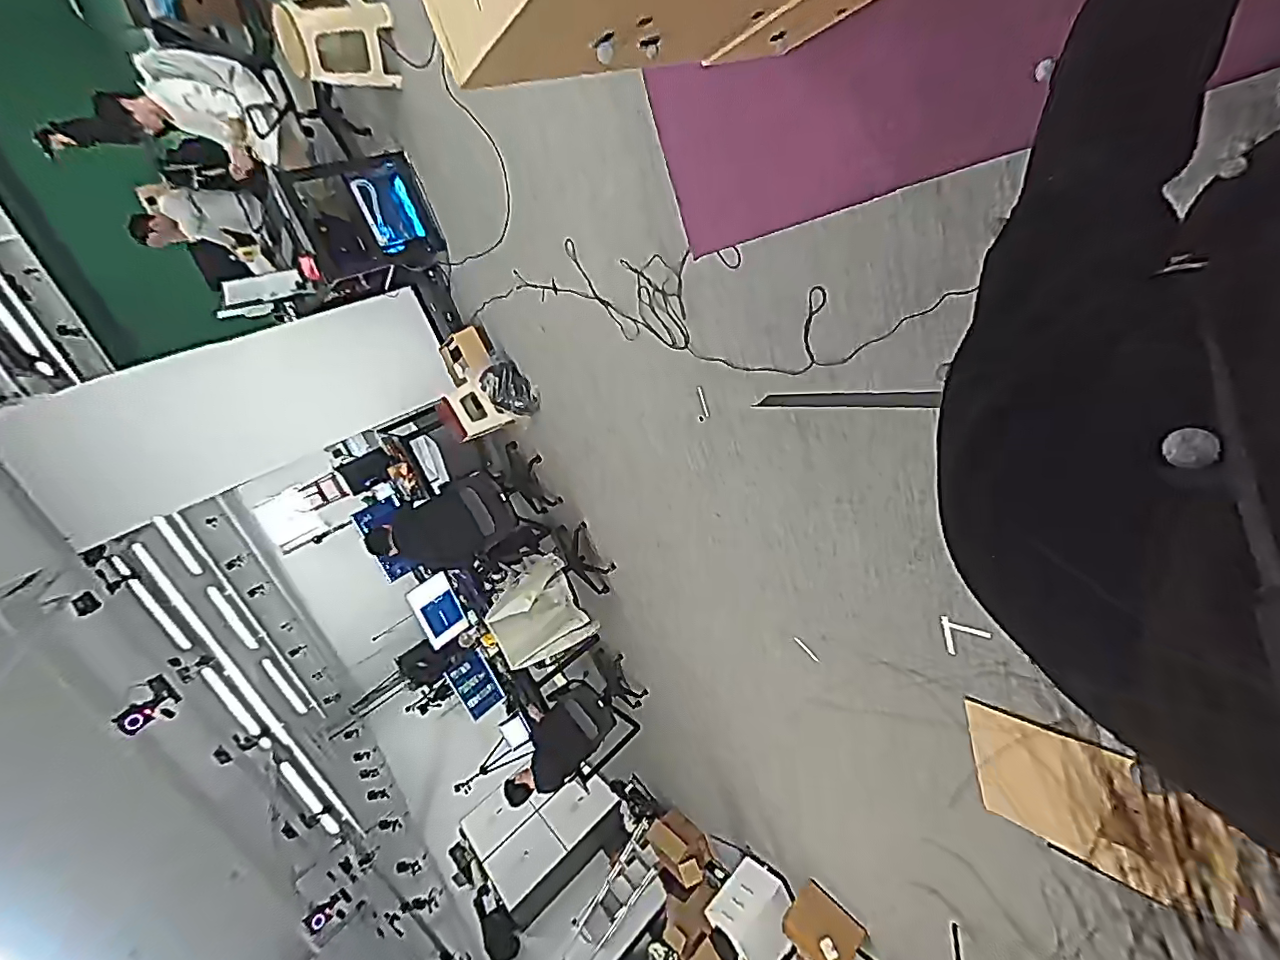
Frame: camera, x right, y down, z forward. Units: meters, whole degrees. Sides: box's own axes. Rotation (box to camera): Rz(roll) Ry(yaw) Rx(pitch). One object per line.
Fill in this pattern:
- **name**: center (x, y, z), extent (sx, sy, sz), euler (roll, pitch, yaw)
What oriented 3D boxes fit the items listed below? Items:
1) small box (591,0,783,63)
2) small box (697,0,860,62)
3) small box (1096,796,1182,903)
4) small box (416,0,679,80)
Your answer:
- **small box**: center (0.033, -0.534, 0.511), extent (0.168, 0.176, 0.179), euler (11, 126, 52)
- **small box**: center (0.154, -0.605, 0.595), extent (0.168, 0.176, 0.179), euler (11, 127, 51)
- **small box**: center (1.539, 1.129, 1.669), extent (0.168, 0.176, 0.179), euler (10, 127, 54)
- **small box**: center (-0.084, -0.454, 0.425), extent (0.168, 0.176, 0.179), euler (11, 128, 51)
